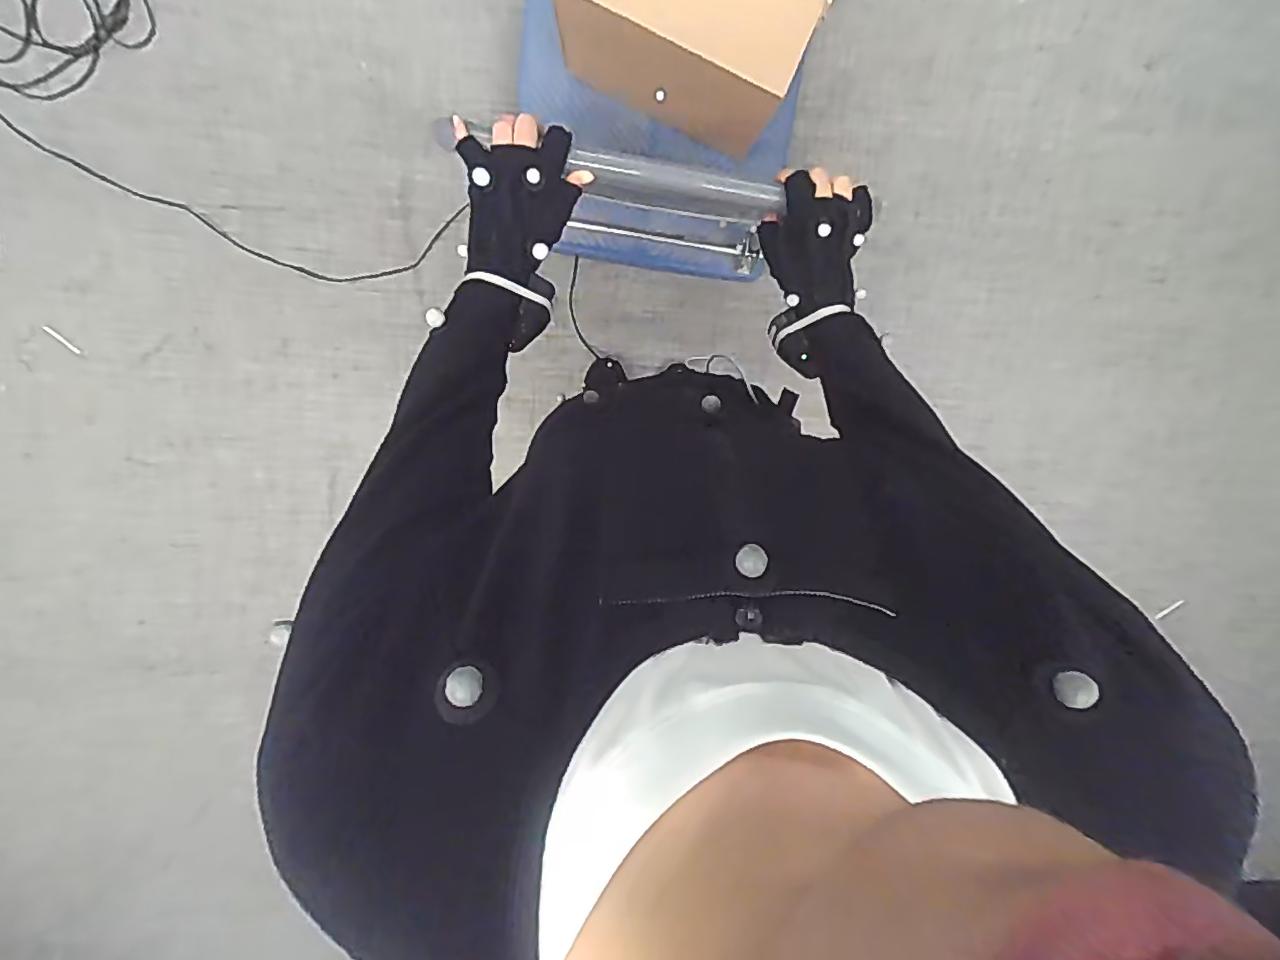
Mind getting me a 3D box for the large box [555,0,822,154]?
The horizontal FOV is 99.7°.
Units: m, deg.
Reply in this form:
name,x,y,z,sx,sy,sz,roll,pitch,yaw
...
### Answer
name,x,y,z,sx,sy,sz,roll,pitch,yaw
large box,0.102,-0.860,0.958,0.408,0.320,0.320,23,102,-7
